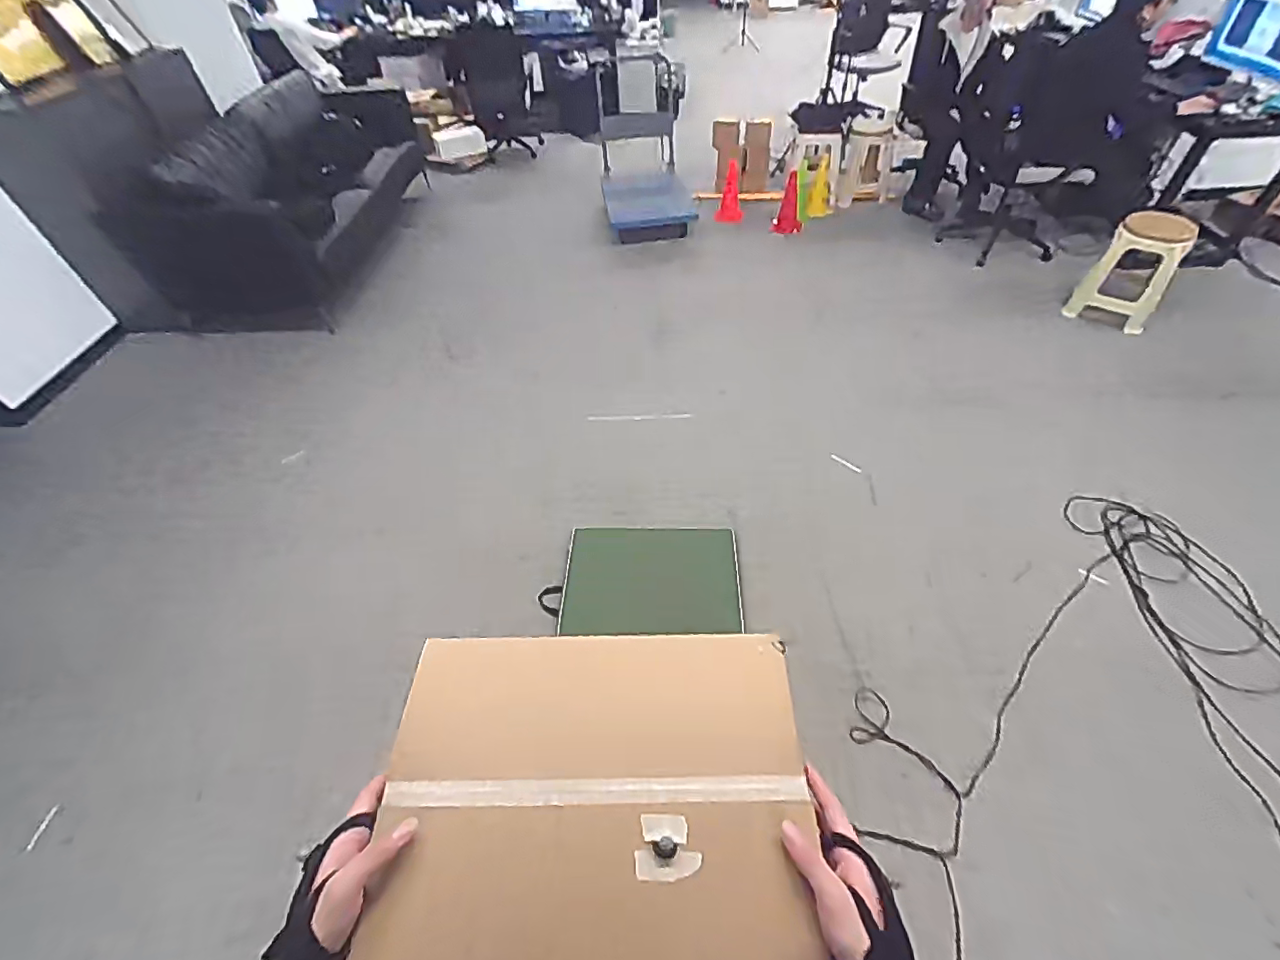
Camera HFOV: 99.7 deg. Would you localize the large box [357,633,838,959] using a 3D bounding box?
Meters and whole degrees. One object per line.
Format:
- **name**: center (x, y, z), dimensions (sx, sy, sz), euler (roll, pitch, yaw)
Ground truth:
- **large box**: center (-0.038, 0.396, 0.640), dimensions (0.408, 0.320, 0.320), euler (-1, 49, 0)
